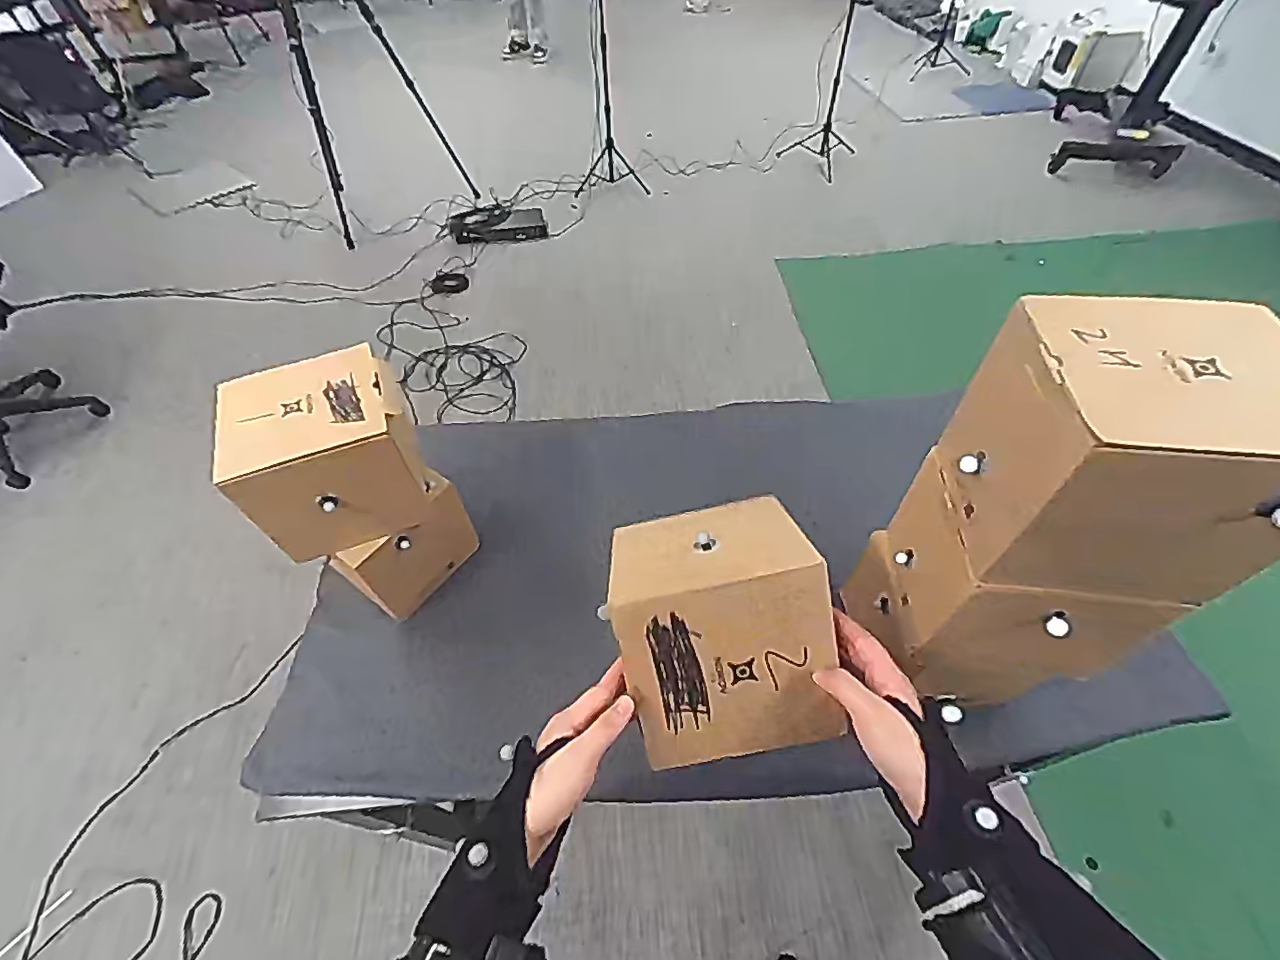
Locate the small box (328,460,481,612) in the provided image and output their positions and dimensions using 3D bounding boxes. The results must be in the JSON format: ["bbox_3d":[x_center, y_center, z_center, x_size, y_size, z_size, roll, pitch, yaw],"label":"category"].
[{"bbox_3d":[-0.370,0.067,0.803,0.179,0.176,0.168,29,58,22],"label":"small box"}]

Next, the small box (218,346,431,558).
[{"bbox_3d":[-0.375,-0.032,0.671,0.179,0.176,0.168,-20,54,-13],"label":"small box"}]

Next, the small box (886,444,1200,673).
[{"bbox_3d":[0.376,0.083,0.550,0.179,0.176,0.168,3,51,7],"label":"small box"}]

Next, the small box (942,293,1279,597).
[{"bbox_3d":[0.372,-0.023,0.424,0.179,0.176,0.168,5,50,8],"label":"small box"}]

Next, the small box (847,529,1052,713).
[{"bbox_3d":[0.382,0.175,0.684,0.168,0.176,0.179,-5,51,0],"label":"small box"}]
